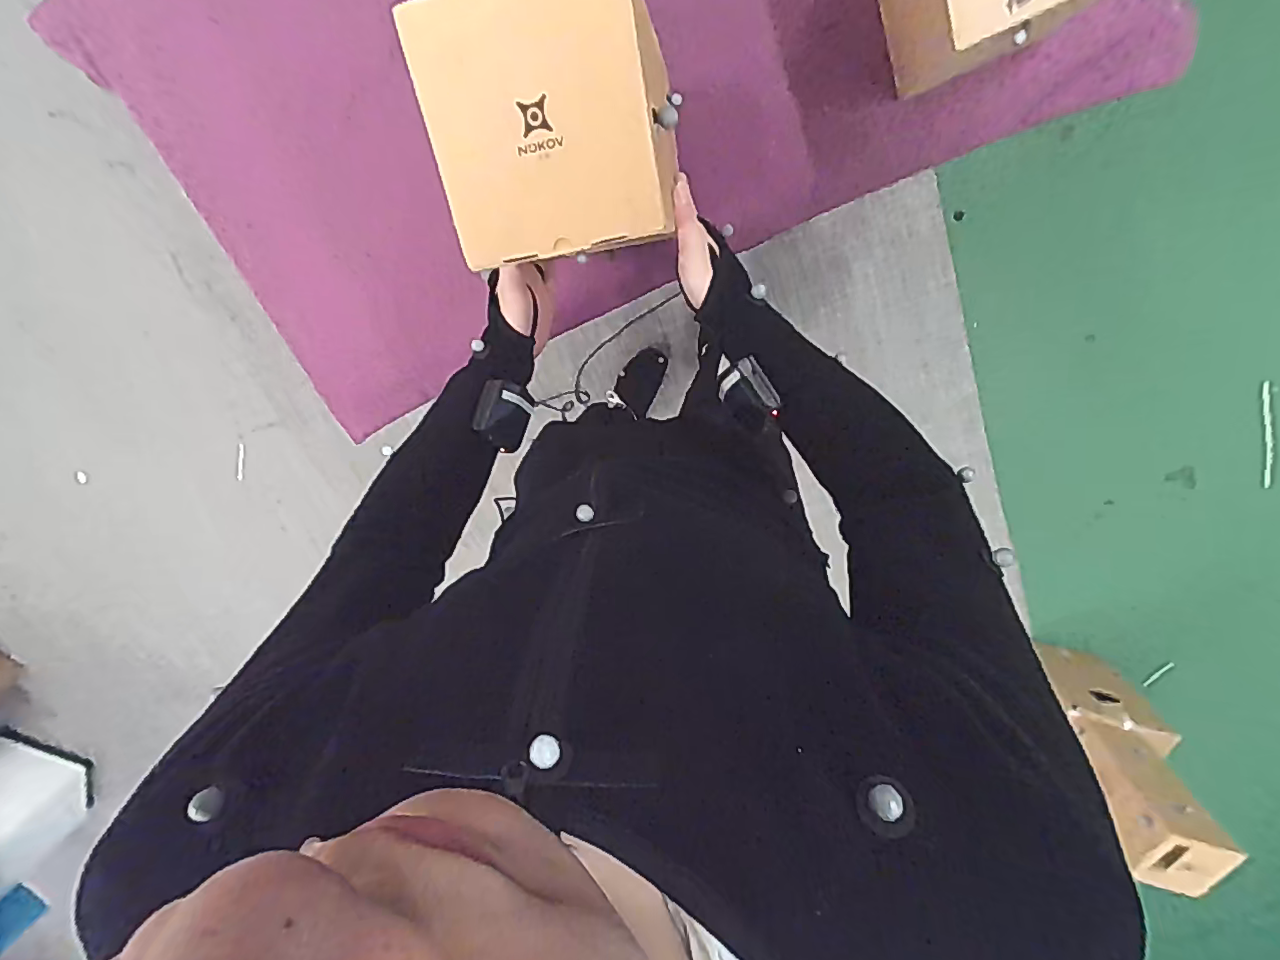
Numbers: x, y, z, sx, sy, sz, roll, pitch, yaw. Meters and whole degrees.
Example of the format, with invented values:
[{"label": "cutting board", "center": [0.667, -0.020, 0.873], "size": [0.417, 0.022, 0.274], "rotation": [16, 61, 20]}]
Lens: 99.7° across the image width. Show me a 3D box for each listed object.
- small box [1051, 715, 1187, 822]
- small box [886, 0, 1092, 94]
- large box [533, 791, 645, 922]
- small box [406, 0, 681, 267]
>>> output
[{"label": "small box", "center": [1.260, 0.762, 1.442], "size": [0.179, 0.176, 0.168], "rotation": [17, 115, -1]}, {"label": "small box", "center": [0.347, -0.530, 0.530], "size": [0.168, 0.176, 0.179], "rotation": [-18, 107, 14]}, {"label": "large box", "center": [-0.190, 1.507, 2.180], "size": [0.408, 0.320, 0.320], "rotation": [2, 114, 4]}, {"label": "small box", "center": [-0.058, -0.291, 0.459], "size": [0.168, 0.176, 0.179], "rotation": [-7, 116, 10]}]
